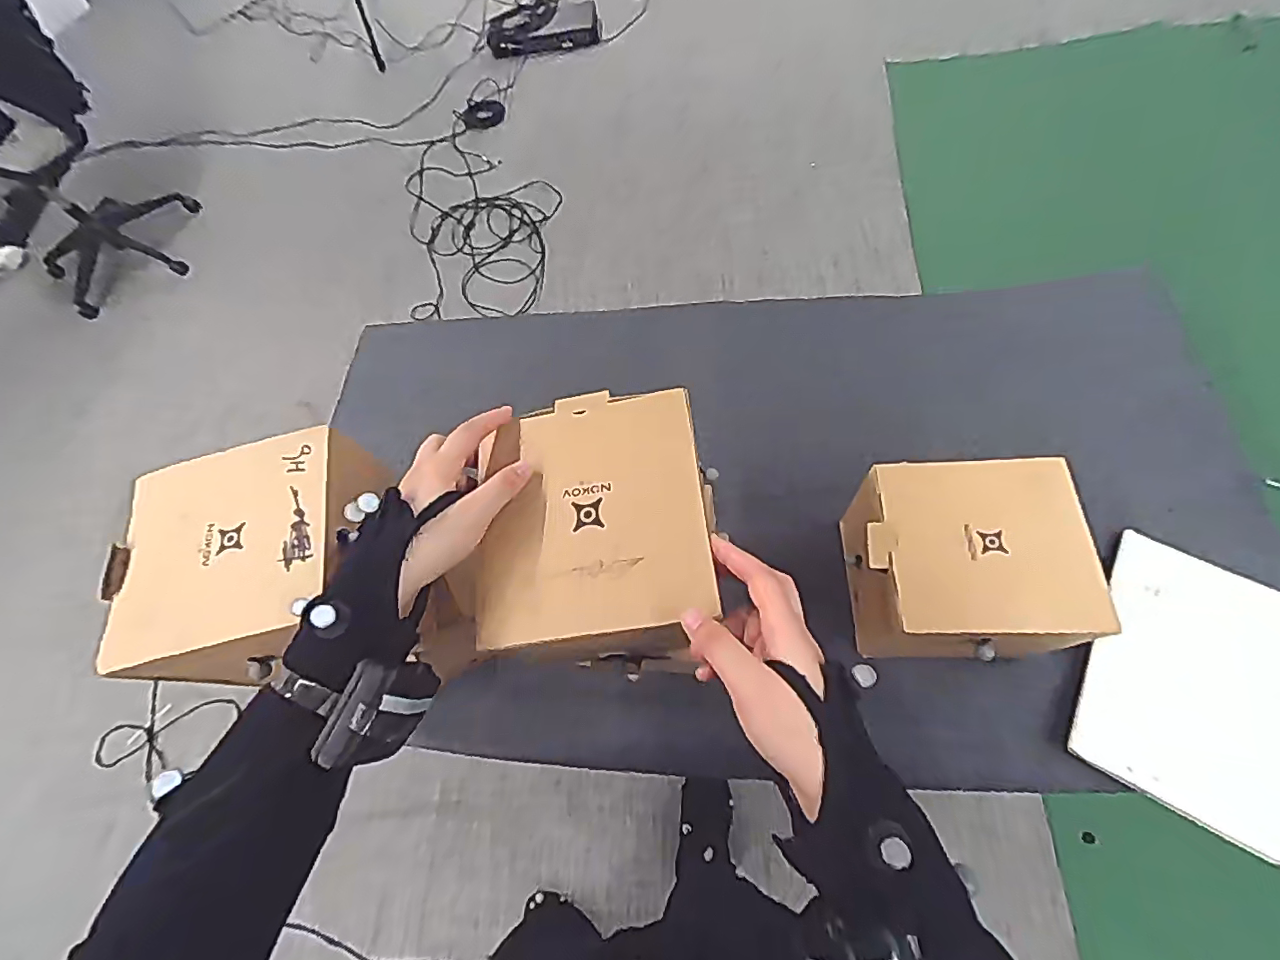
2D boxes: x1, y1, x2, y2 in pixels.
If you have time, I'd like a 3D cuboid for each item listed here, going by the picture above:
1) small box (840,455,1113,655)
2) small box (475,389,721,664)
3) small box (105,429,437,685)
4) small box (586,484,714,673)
[{"bbox_3d":[0.322,0.086,0.565,0.179,0.176,0.168,-4,65,9],"label":"small box"},{"bbox_3d":[-0.027,0.052,0.460,0.168,0.176,0.179,-10,67,6],"label":"small box"},{"bbox_3d":[-0.311,0.082,0.496,0.179,0.176,0.168,-15,65,3],"label":"small box"},{"bbox_3d":[-0.005,0.114,0.609,0.168,0.176,0.179,0,67,11],"label":"small box"}]
